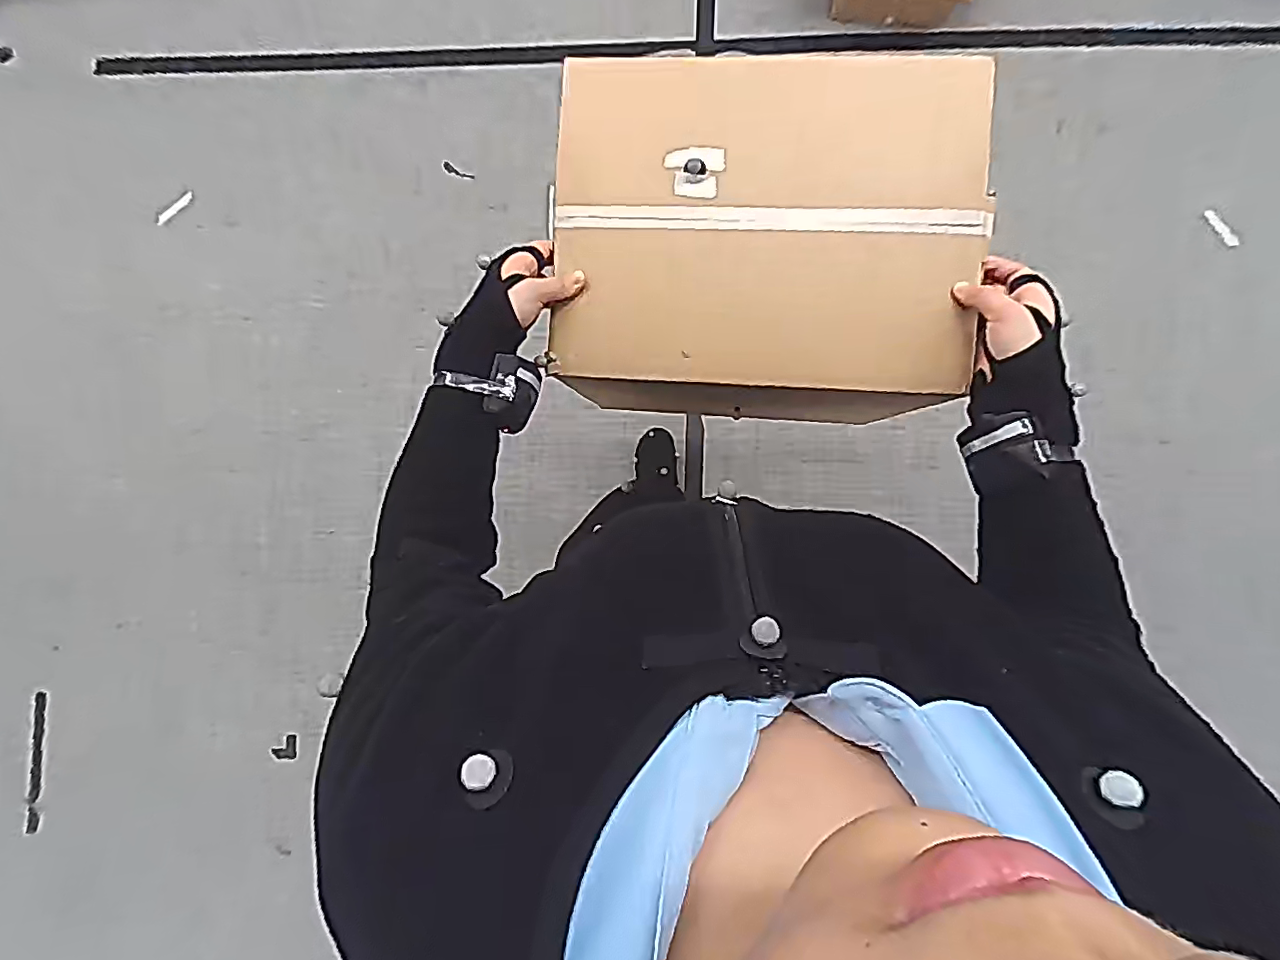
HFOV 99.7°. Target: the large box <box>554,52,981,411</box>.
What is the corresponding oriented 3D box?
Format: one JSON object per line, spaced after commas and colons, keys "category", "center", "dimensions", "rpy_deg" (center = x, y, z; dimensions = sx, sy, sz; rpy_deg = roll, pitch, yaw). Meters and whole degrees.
{"category": "large box", "center": [0.134, -0.257, 0.676], "dimensions": [0.408, 0.320, 0.320], "rpy_deg": [4, 90, 7]}
